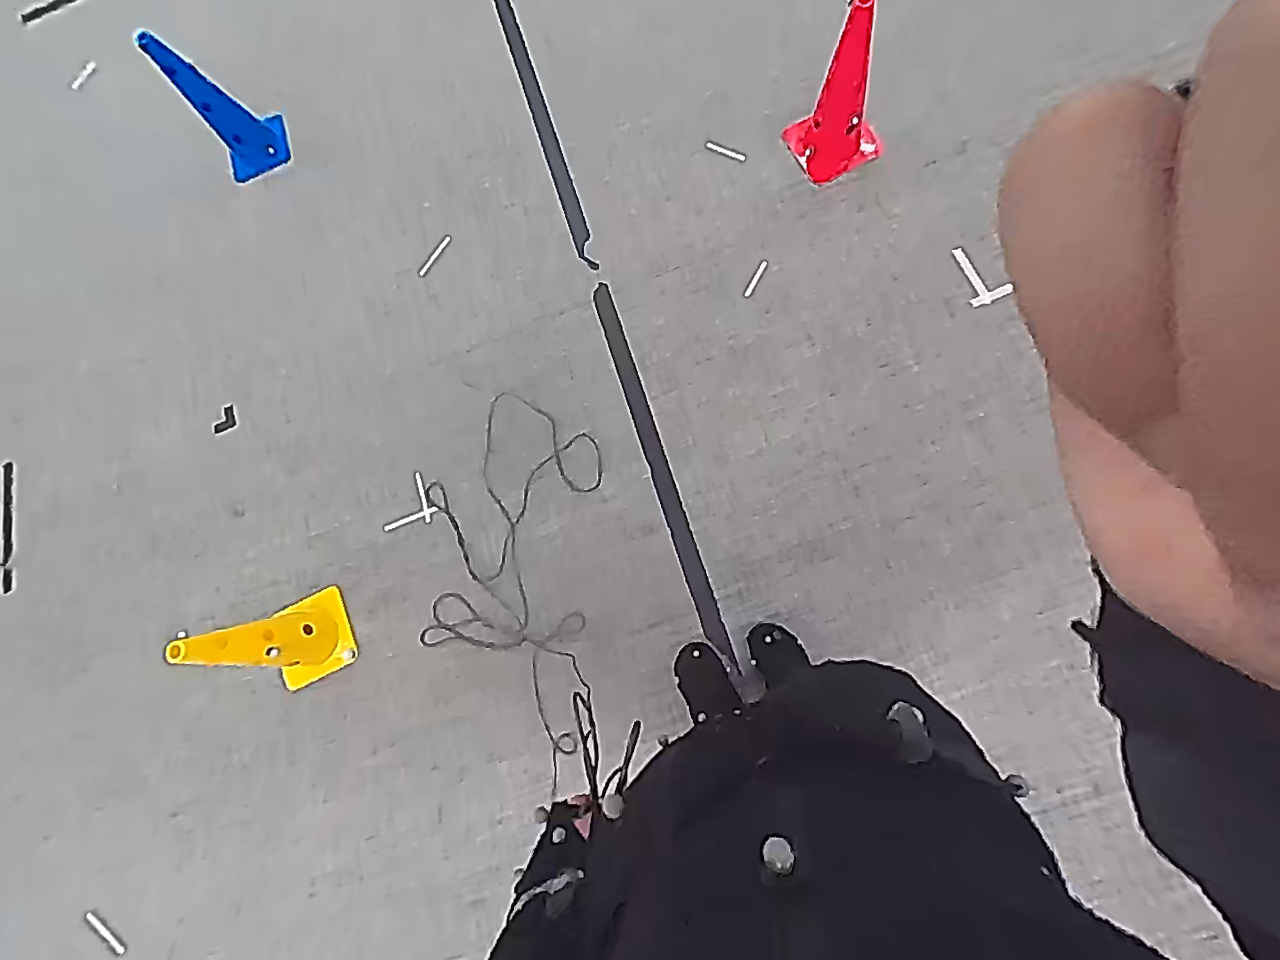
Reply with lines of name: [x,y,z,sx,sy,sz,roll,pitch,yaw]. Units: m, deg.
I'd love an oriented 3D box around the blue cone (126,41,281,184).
blue cone: [-1.255,-1.074,1.555,0.192,0.380,0.193,-20,75,6]

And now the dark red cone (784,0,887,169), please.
dark red cone: [0.466,-0.930,1.215,0.201,0.394,0.202,-28,75,4]
